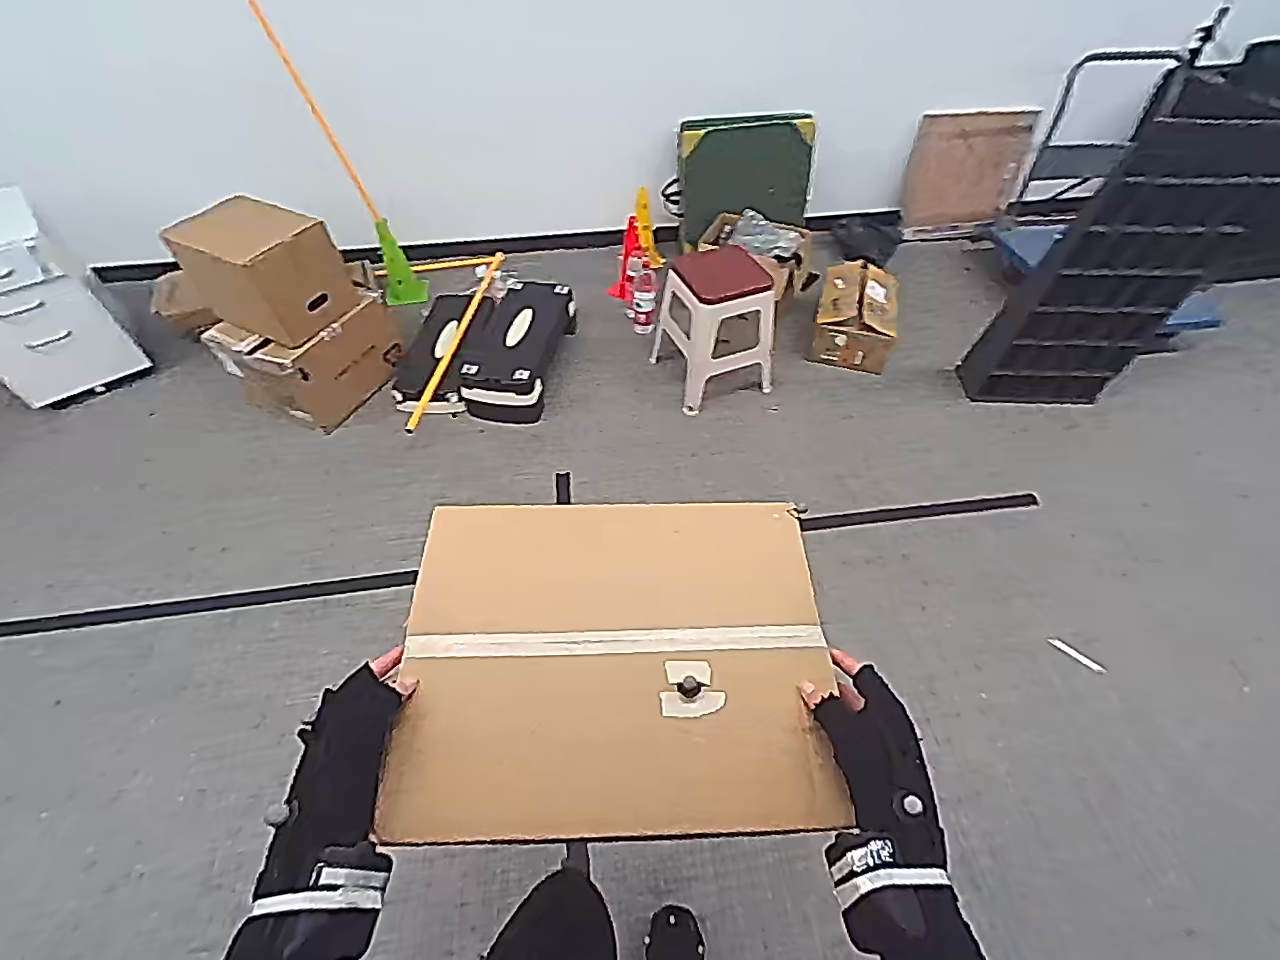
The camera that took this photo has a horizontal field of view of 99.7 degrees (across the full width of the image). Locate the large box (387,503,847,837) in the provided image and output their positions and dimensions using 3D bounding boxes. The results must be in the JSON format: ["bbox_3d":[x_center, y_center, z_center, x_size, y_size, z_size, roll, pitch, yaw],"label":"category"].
[{"bbox_3d":[-0.027,0.241,0.665,0.408,0.320,0.320,-1,56,-2],"label":"large box"}]
